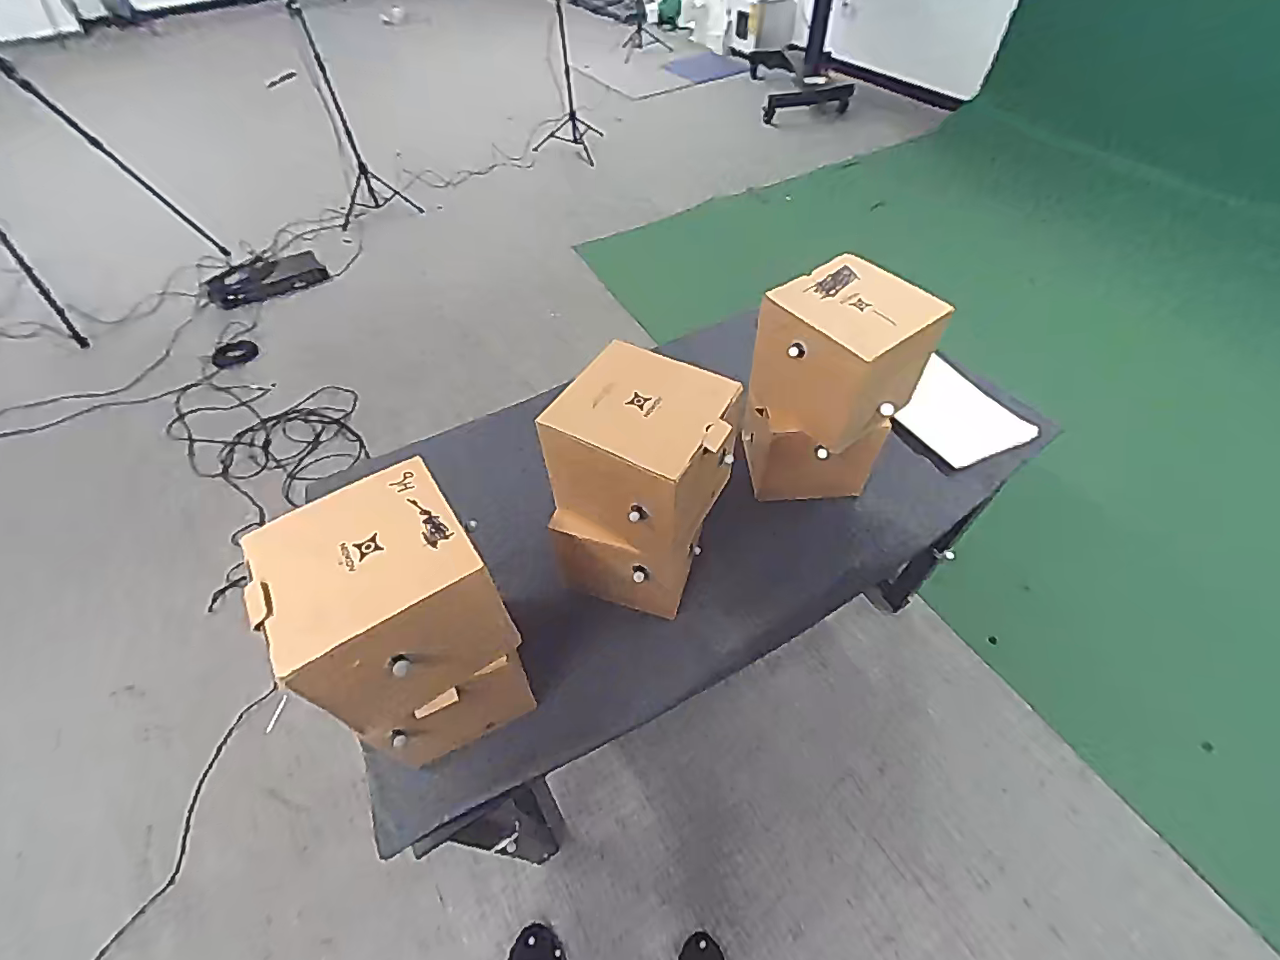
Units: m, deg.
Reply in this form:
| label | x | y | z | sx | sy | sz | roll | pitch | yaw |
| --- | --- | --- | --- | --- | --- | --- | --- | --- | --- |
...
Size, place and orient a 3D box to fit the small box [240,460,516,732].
| label | x | y | z | sx | sy | sz | roll | pitch | yaw |
| --- | --- | --- | --- | --- | --- | --- | --- | --- | --- |
| small box | -0.249 | 0.119 | 0.544 | 0.179 | 0.176 | 0.168 | -29 | 55 | -20 |

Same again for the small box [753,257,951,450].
| label | x | y | z | sx | sy | sz | roll | pitch | yaw |
| --- | --- | --- | --- | --- | --- | --- | --- | --- | --- |
| small box | 0.278 | -0.174 | 0.755 | 0.168 | 0.176 | 0.179 | -31 | 57 | -19 |

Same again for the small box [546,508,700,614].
| label | x | y | z | sx | sy | sz | roll | pitch | yaw |
| --- | --- | --- | --- | --- | --- | --- | --- | --- | --- |
| small box | -0.012 | 0.074 | 0.780 | 0.179 | 0.176 | 0.168 | 13 | 53 | 13 |

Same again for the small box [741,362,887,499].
| label | x | y | z | sx | sy | sz | roll | pitch | yaw |
| --- | --- | --- | --- | --- | --- | --- | --- | --- | --- |
| small box | 0.273 | -0.082 | 0.892 | 0.179 | 0.176 | 0.168 | -3 | 51 | 0 |

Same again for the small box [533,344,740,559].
| label | x | y | z | sx | sy | sz | roll | pitch | yaw |
| --- | --- | --- | --- | --- | --- | --- | --- | --- | --- |
| small box | 0.002 | -0.029 | 0.654 | 0.179 | 0.176 | 0.168 | 23 | 55 | 20 |
